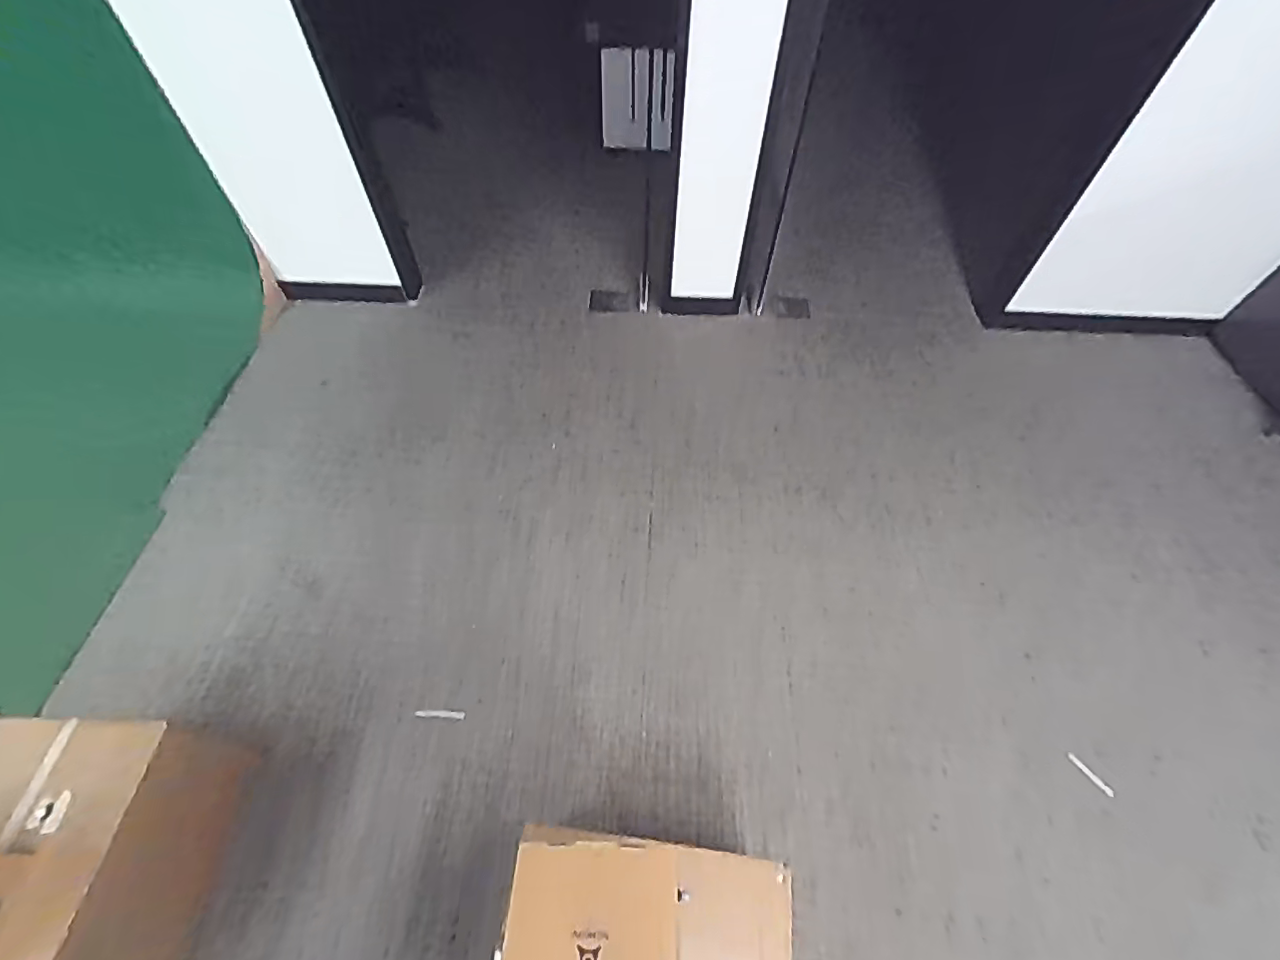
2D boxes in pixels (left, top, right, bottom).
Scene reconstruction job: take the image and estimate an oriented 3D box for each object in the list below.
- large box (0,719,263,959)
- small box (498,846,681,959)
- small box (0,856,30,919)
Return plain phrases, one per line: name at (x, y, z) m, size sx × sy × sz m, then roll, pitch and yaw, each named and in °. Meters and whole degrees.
large box at (-0.949, 0.657, 0.916) m, size 0.320 × 0.320 × 0.408 m, roll 2°, pitch 53°, yaw 0°
small box at (-0.043, 0.494, 0.548) m, size 0.168 × 0.176 × 0.179 m, roll -2°, pitch 45°, yaw 4°
small box at (-0.963, 0.569, 0.678) m, size 0.179 × 0.176 × 0.168 m, roll 0°, pitch 53°, yaw 0°
